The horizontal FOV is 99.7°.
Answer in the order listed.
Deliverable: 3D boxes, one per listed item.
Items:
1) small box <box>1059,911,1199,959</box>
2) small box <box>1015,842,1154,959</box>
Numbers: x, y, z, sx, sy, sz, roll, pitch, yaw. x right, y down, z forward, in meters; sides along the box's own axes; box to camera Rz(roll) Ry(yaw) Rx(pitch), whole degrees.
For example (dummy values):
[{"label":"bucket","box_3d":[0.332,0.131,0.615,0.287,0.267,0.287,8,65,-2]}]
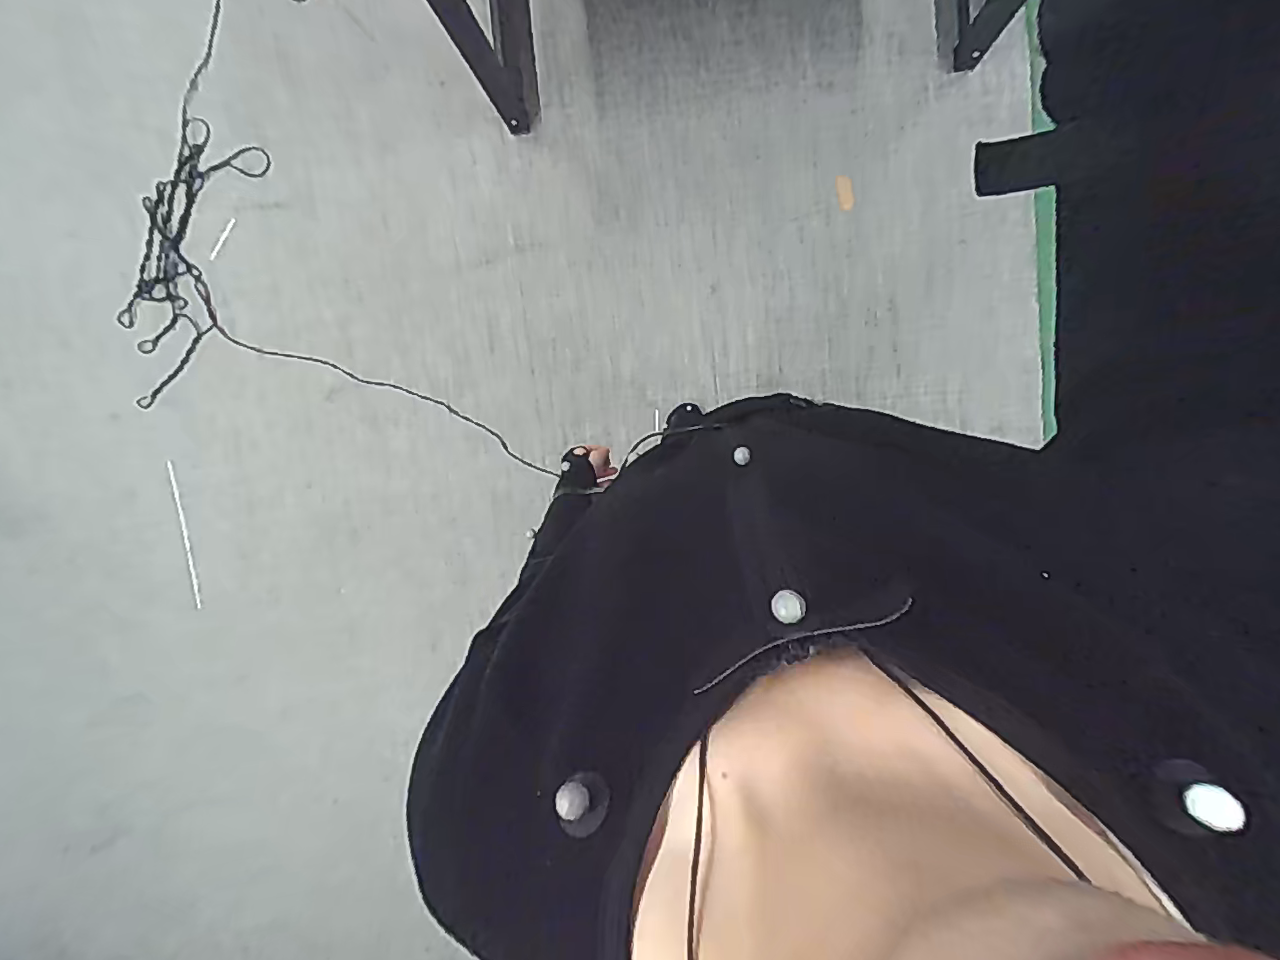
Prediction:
[{"label":"small box","box_3d":[0.890,0.901,0.947,0.179,0.176,0.168,-13,93,8]},{"label":"small box","box_3d":[0.908,0.879,1.107,0.168,0.176,0.179,-14,93,7]}]
